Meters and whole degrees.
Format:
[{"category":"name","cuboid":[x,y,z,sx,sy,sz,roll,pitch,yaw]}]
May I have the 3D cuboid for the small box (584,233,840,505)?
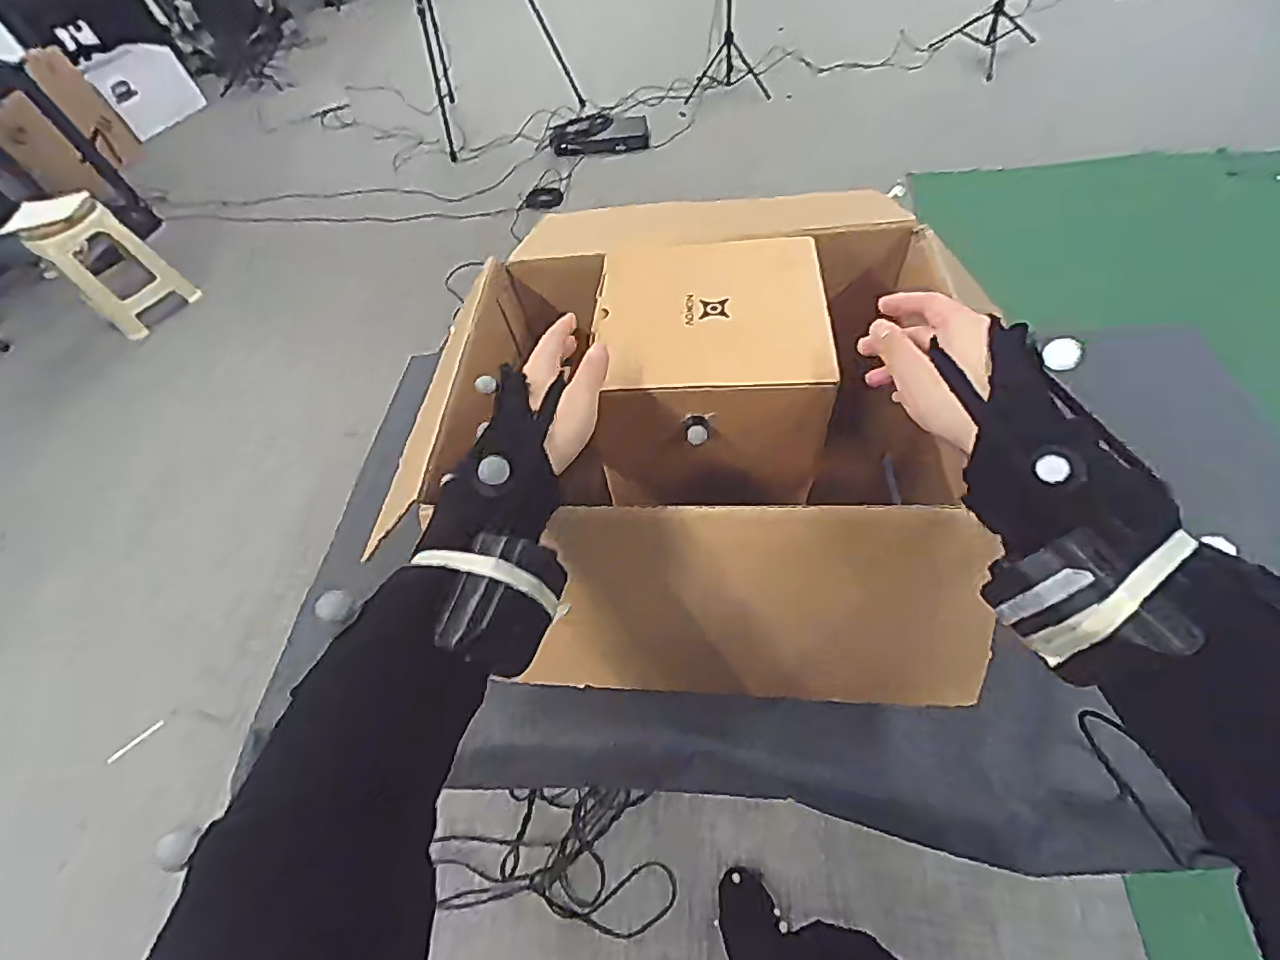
[{"category":"small box","cuboid":[0.060,-0.089,0.475,0.179,0.176,0.168,-1,56,7]}]
